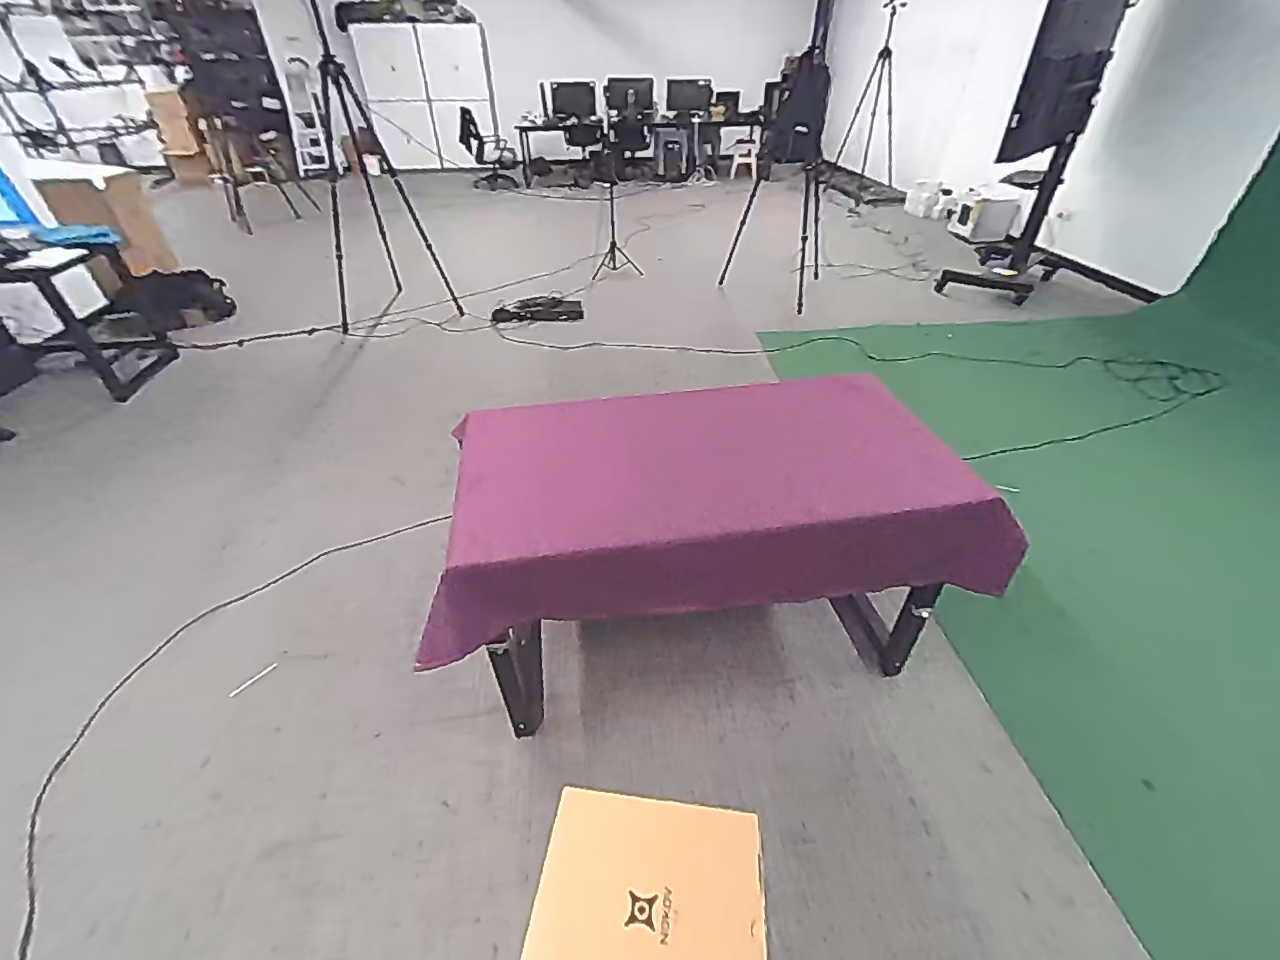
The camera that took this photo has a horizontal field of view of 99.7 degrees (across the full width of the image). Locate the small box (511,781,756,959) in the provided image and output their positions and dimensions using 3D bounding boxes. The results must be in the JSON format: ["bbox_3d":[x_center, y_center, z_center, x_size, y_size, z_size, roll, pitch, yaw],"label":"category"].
[{"bbox_3d":[0.002,0.390,0.457,0.179,0.176,0.168,4,33,7],"label":"small box"}]
